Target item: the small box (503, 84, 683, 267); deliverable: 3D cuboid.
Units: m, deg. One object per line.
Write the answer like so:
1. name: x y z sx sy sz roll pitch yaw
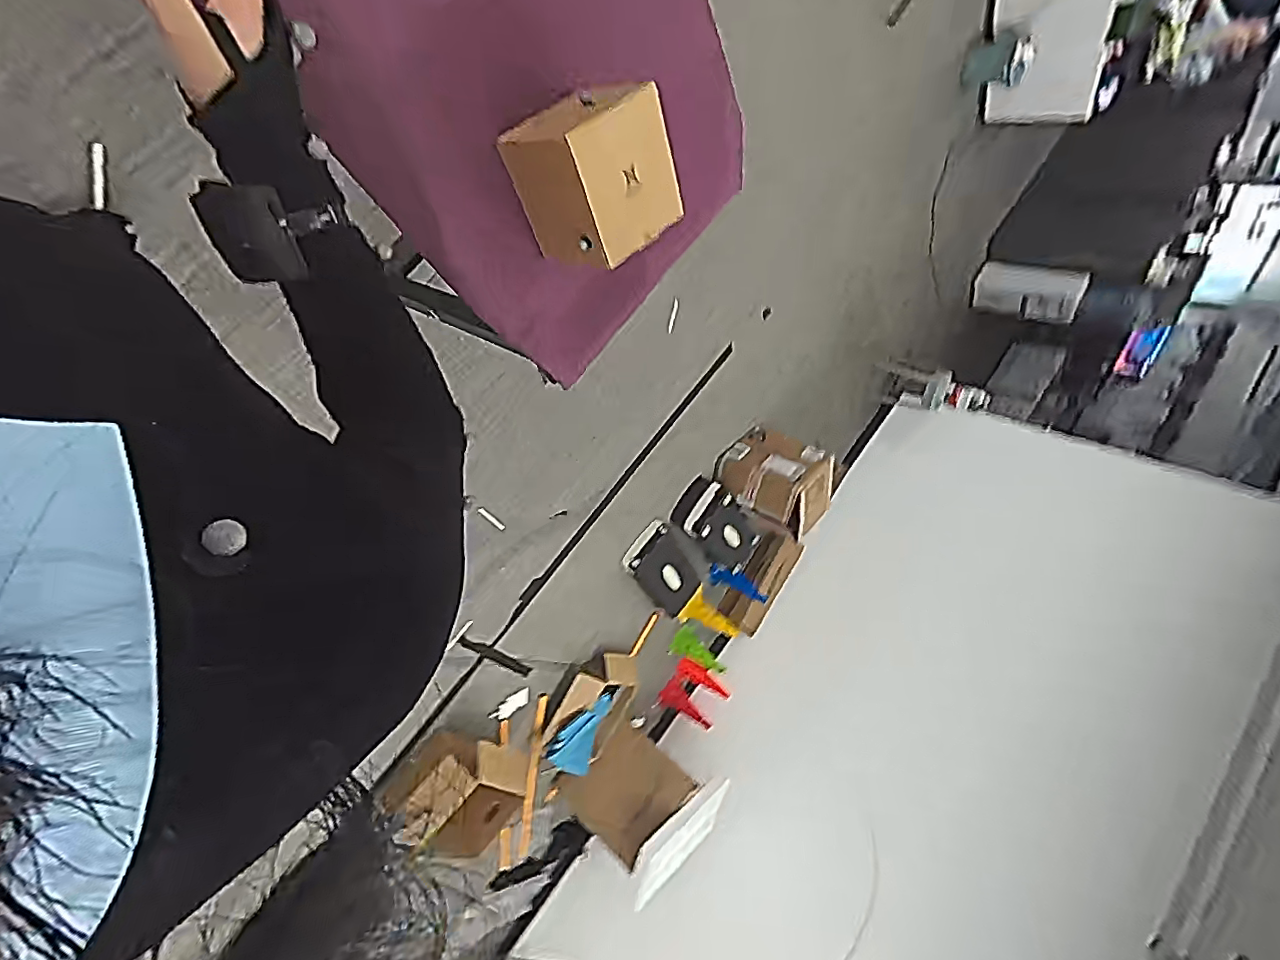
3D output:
1. small box: -0.067 -0.438 0.786 0.168 0.176 0.179 -45 140 -21
